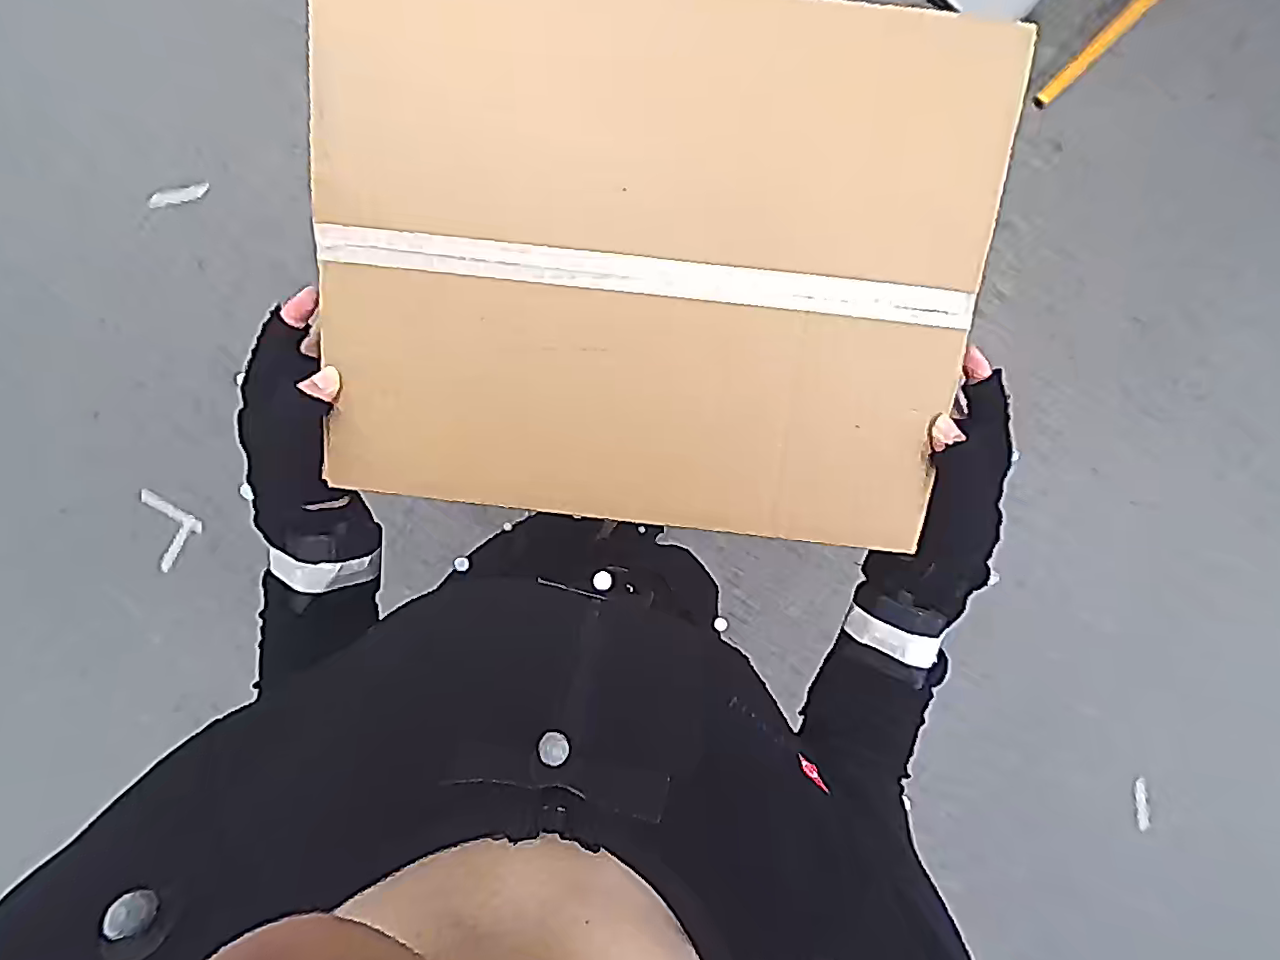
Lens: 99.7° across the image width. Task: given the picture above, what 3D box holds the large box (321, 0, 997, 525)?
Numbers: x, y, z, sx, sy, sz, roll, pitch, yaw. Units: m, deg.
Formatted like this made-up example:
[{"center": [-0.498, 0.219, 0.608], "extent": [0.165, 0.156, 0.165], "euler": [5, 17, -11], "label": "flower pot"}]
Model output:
[{"center": [0.000, -0.164, 0.491], "extent": [0.408, 0.320, 0.320], "euler": [6, 104, 0], "label": "large box"}]
